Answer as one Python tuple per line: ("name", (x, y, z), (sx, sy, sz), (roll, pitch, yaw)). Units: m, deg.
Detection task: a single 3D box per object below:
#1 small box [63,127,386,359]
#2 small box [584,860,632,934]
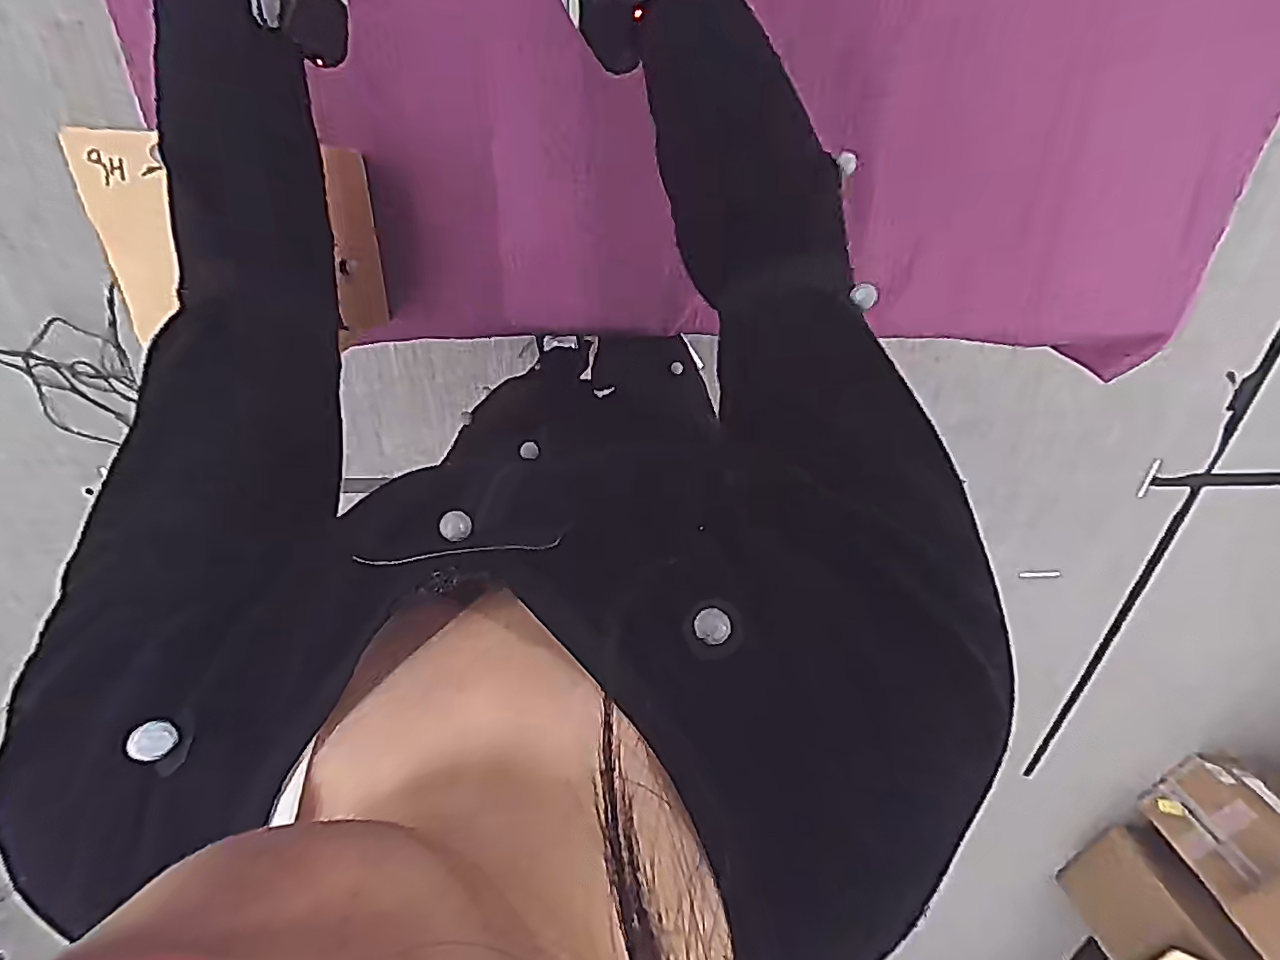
("small box", (-0.367, -0.229, 0.526), (0.168, 0.176, 0.179), (0, 119, -6))
("small box", (-0.122, 1.562, 2.032), (0.179, 0.176, 0.168), (-1, 118, -4))
